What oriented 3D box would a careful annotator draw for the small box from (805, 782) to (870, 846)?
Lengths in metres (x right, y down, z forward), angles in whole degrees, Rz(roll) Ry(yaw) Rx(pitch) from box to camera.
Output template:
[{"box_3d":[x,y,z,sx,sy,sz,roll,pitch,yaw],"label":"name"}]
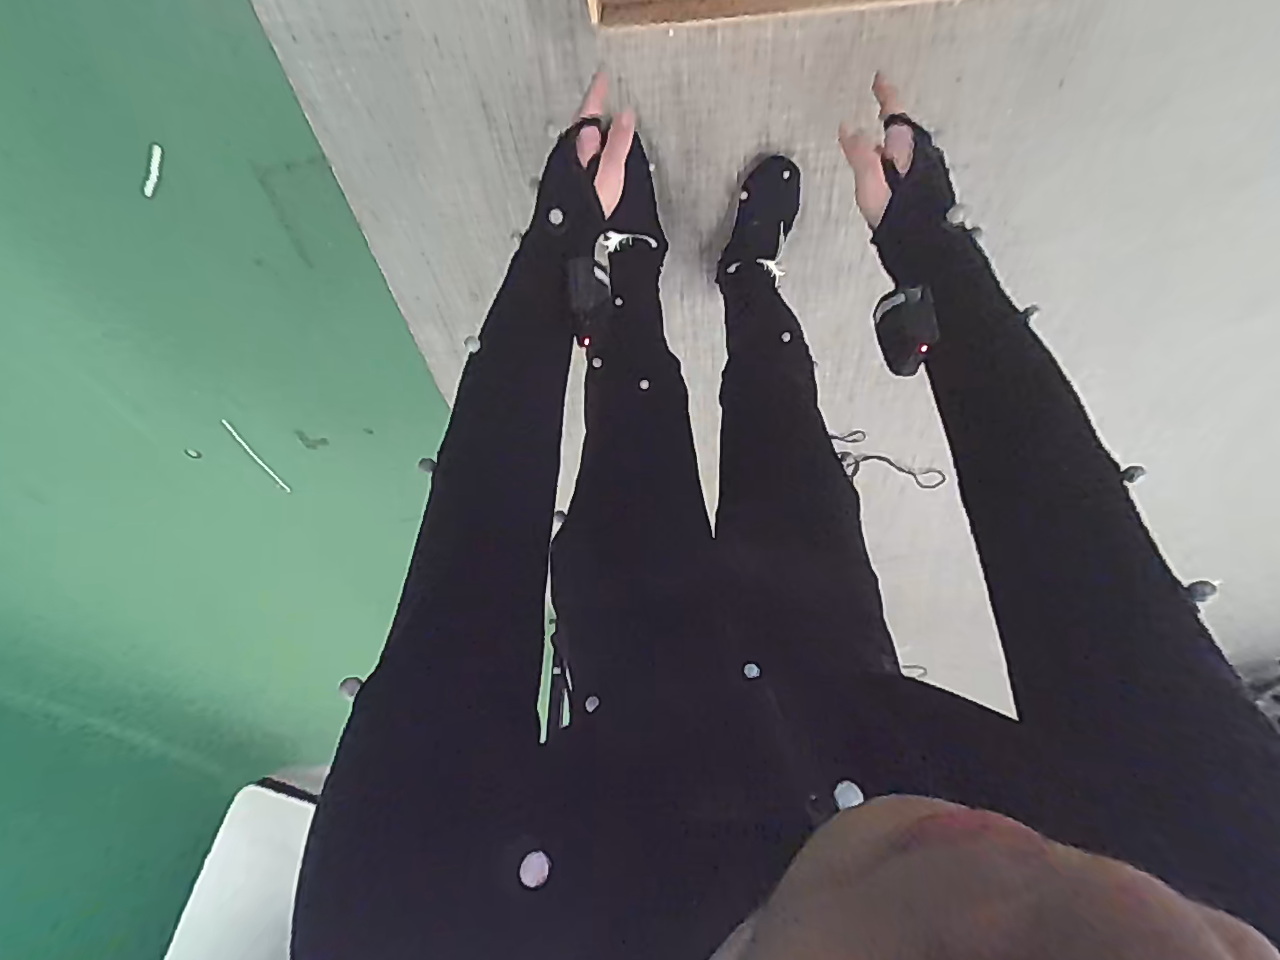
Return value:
[{"box_3d":[0.663,1.130,1.834,0.168,0.176,0.179,-7,141,9],"label":"small box"}]
